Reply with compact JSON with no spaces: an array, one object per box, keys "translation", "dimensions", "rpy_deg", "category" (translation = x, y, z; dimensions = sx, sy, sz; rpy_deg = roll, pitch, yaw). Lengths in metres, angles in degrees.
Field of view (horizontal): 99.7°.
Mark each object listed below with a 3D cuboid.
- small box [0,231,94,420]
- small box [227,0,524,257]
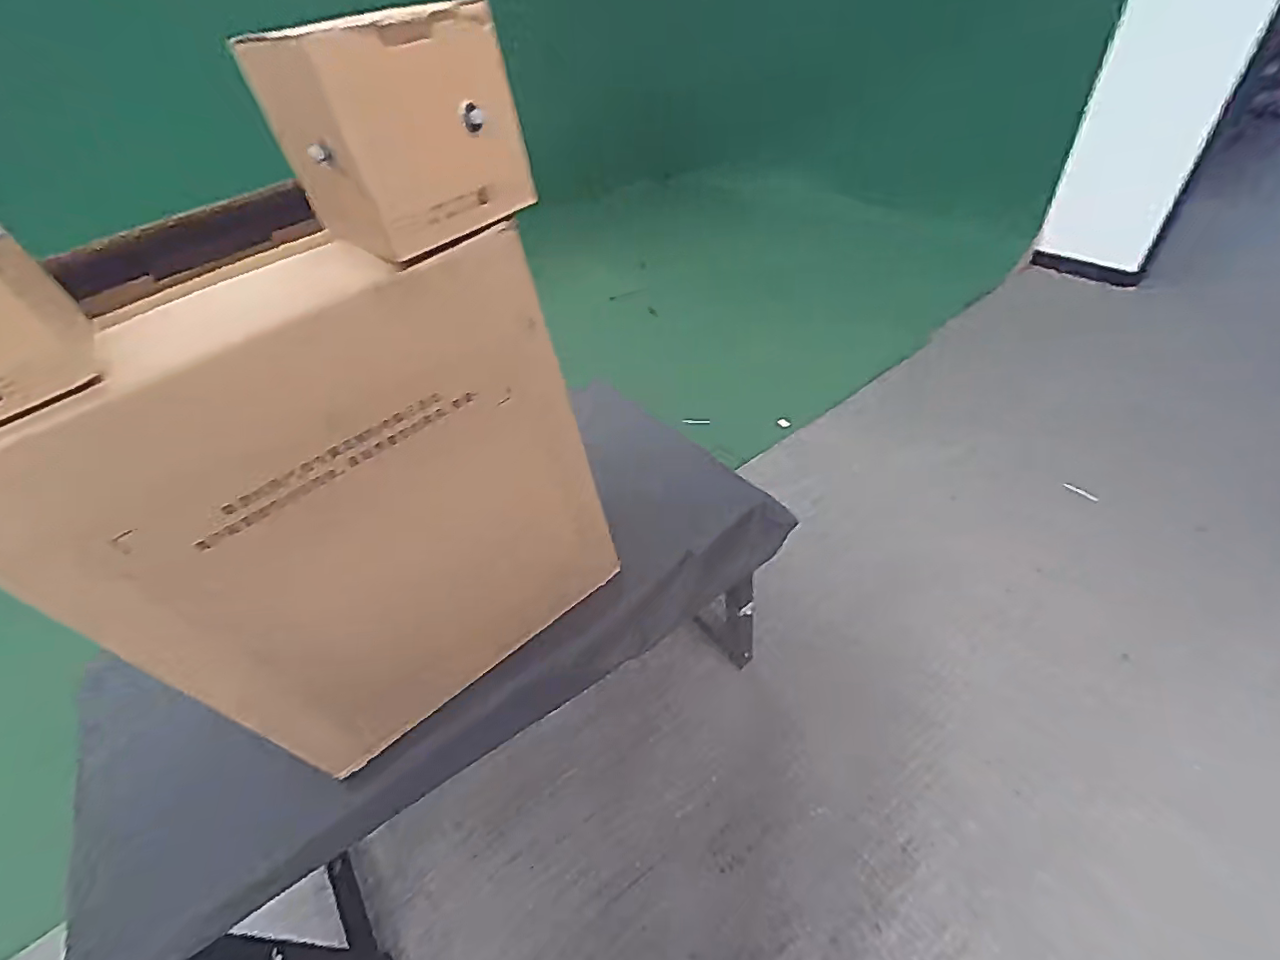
[{"translation":[-0.549,-0.128,0.384],"dimensions":[0.168,0.176,0.179],"rpy_deg":[-38,51,-22],"category":"small box"},{"translation":[-0.239,-0.335,0.522],"dimensions":[0.179,0.176,0.168],"rpy_deg":[30,56,34],"category":"small box"}]
